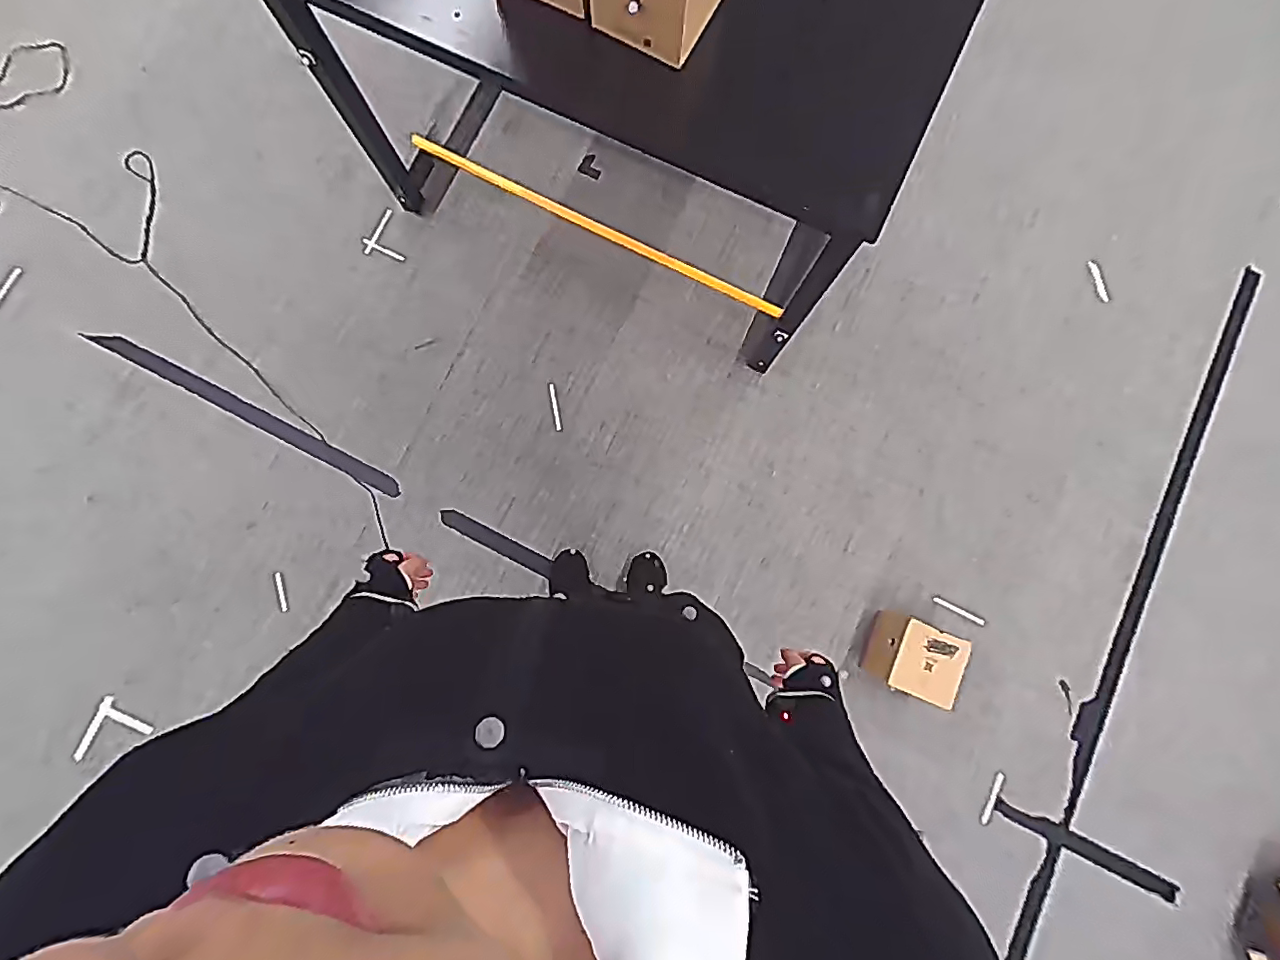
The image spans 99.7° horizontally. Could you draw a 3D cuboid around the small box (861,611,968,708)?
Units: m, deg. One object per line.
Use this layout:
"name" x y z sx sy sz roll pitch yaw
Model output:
"small box" 0.704 0.455 1.408 0.168 0.176 0.179 23 84 2
